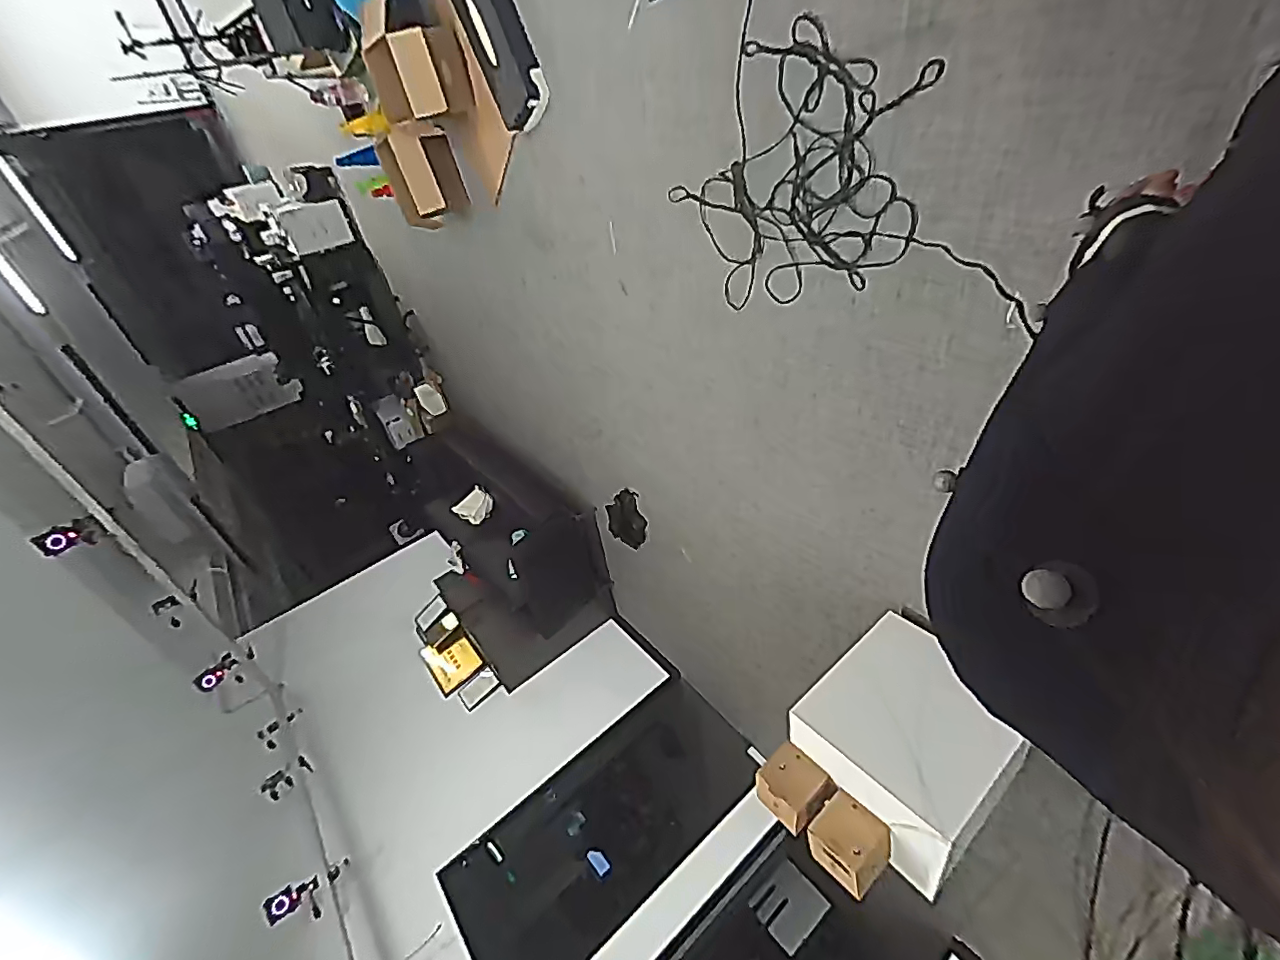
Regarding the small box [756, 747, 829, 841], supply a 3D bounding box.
[{"bbox_3d":[0.495,1.011,1.755,0.168,0.176,0.179,33,144,44],"label":"small box"}]
